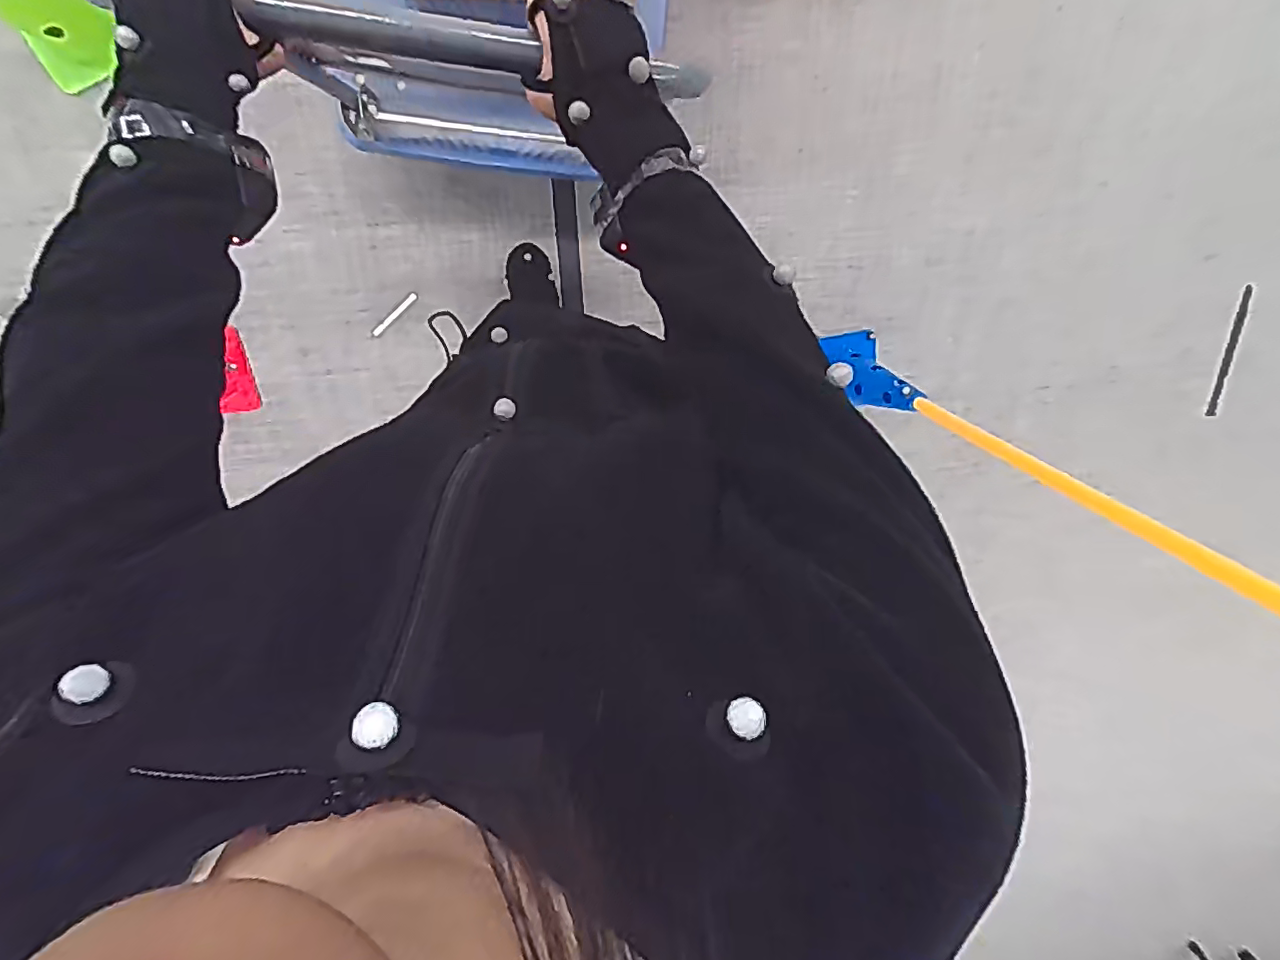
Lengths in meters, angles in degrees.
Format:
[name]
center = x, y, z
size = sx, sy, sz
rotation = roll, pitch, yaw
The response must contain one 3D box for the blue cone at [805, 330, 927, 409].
[blue cone]
center = 0.547, -0.231, 1.270
size = 0.193, 0.380, 0.192
rotation = -9, 111, -4
